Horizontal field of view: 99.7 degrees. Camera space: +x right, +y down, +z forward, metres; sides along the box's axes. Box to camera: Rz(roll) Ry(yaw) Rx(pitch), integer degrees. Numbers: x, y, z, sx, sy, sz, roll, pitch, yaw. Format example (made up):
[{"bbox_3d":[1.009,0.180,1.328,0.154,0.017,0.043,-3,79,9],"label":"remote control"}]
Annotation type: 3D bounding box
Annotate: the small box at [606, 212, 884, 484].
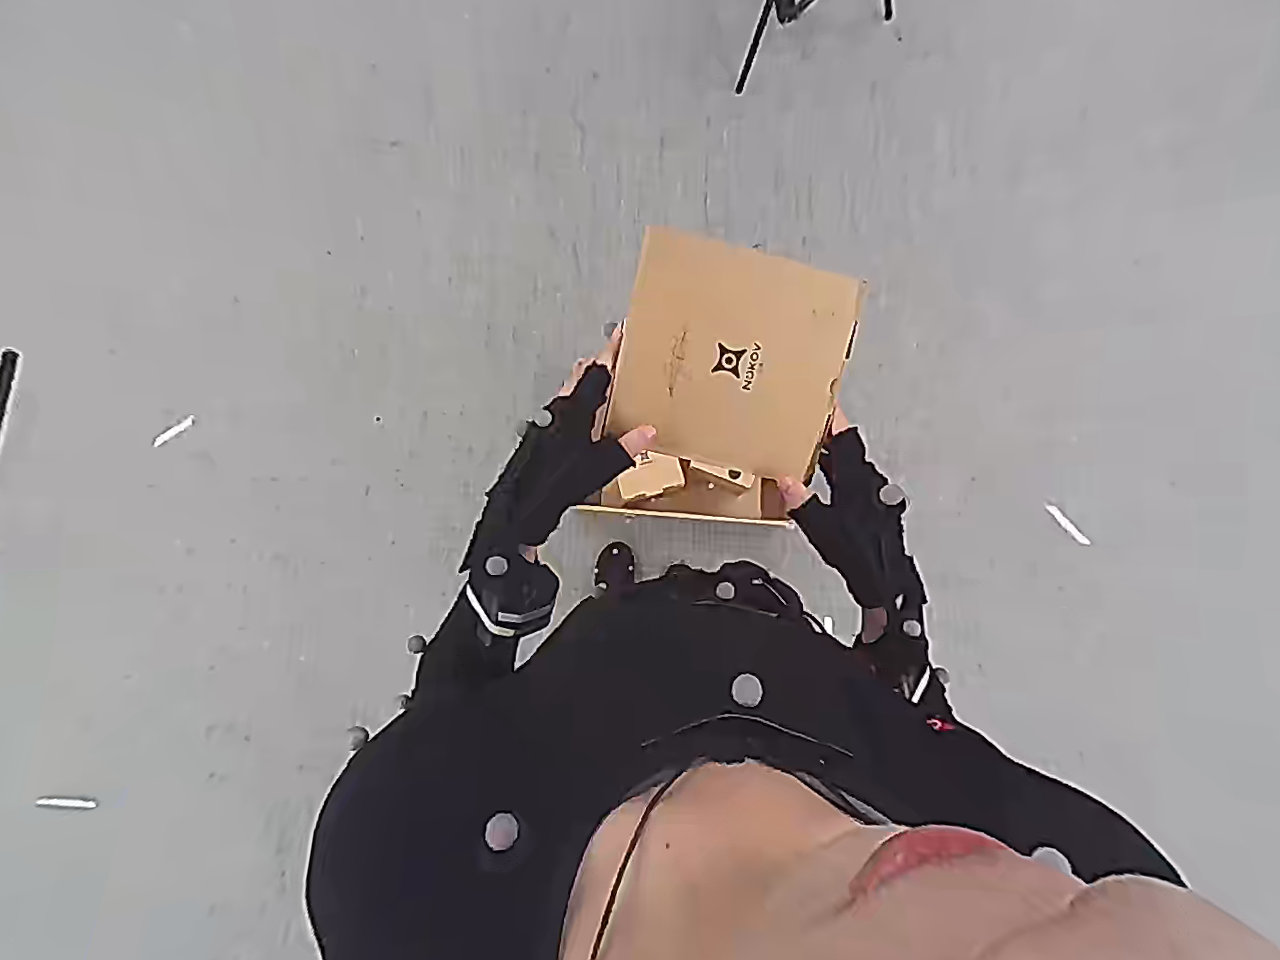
[{"bbox_3d":[0.072,-0.106,0.475,0.179,0.176,0.168,12,98,-5],"label":"small box"}]
